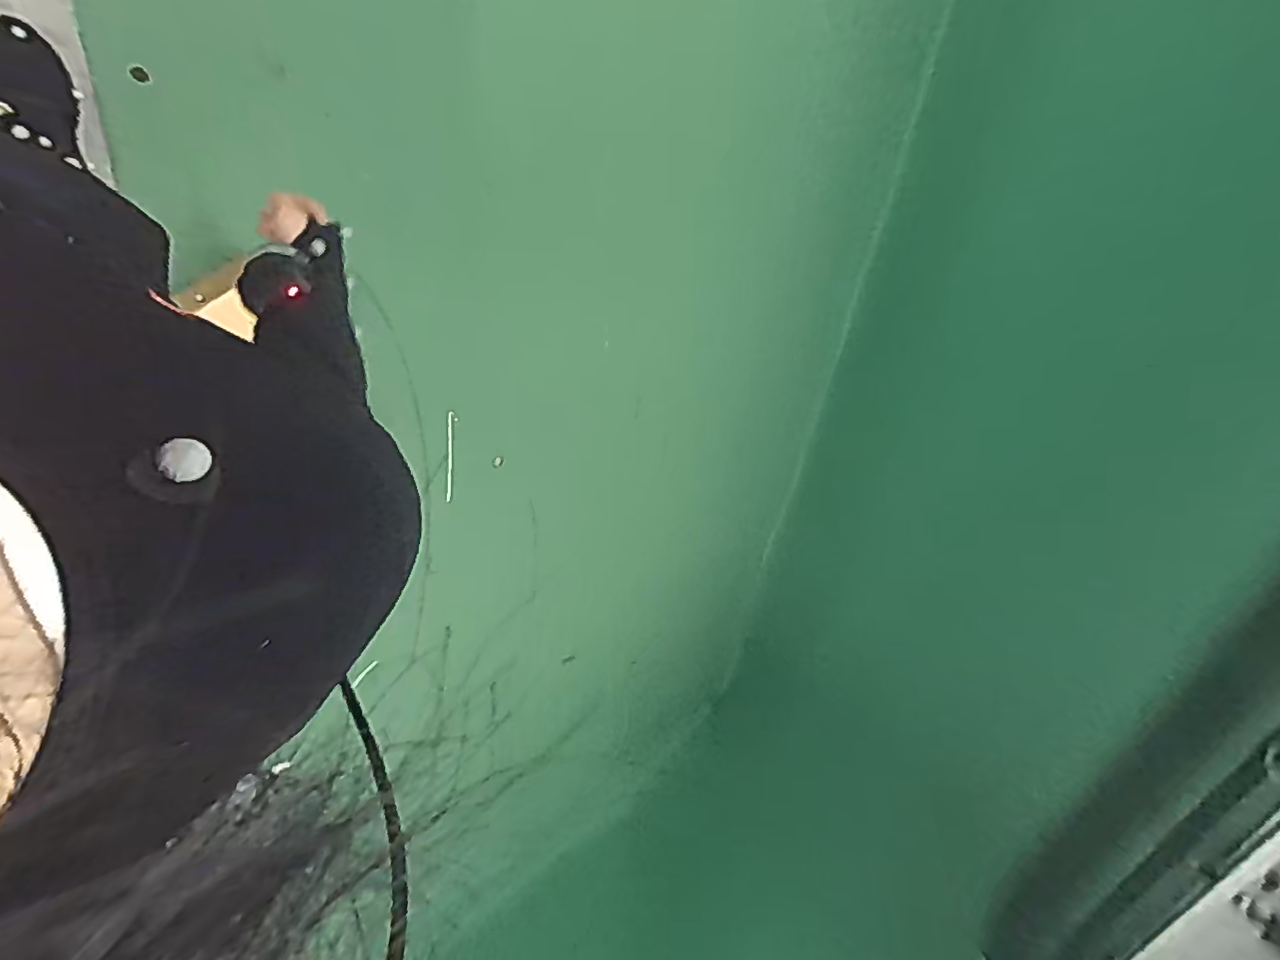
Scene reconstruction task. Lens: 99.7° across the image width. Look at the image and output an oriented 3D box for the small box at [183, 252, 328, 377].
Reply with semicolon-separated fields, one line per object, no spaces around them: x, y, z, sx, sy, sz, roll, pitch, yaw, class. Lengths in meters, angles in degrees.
-0.818;-0.357;1.148;0.179;0.176;0.168;-44;141;-16;small box
